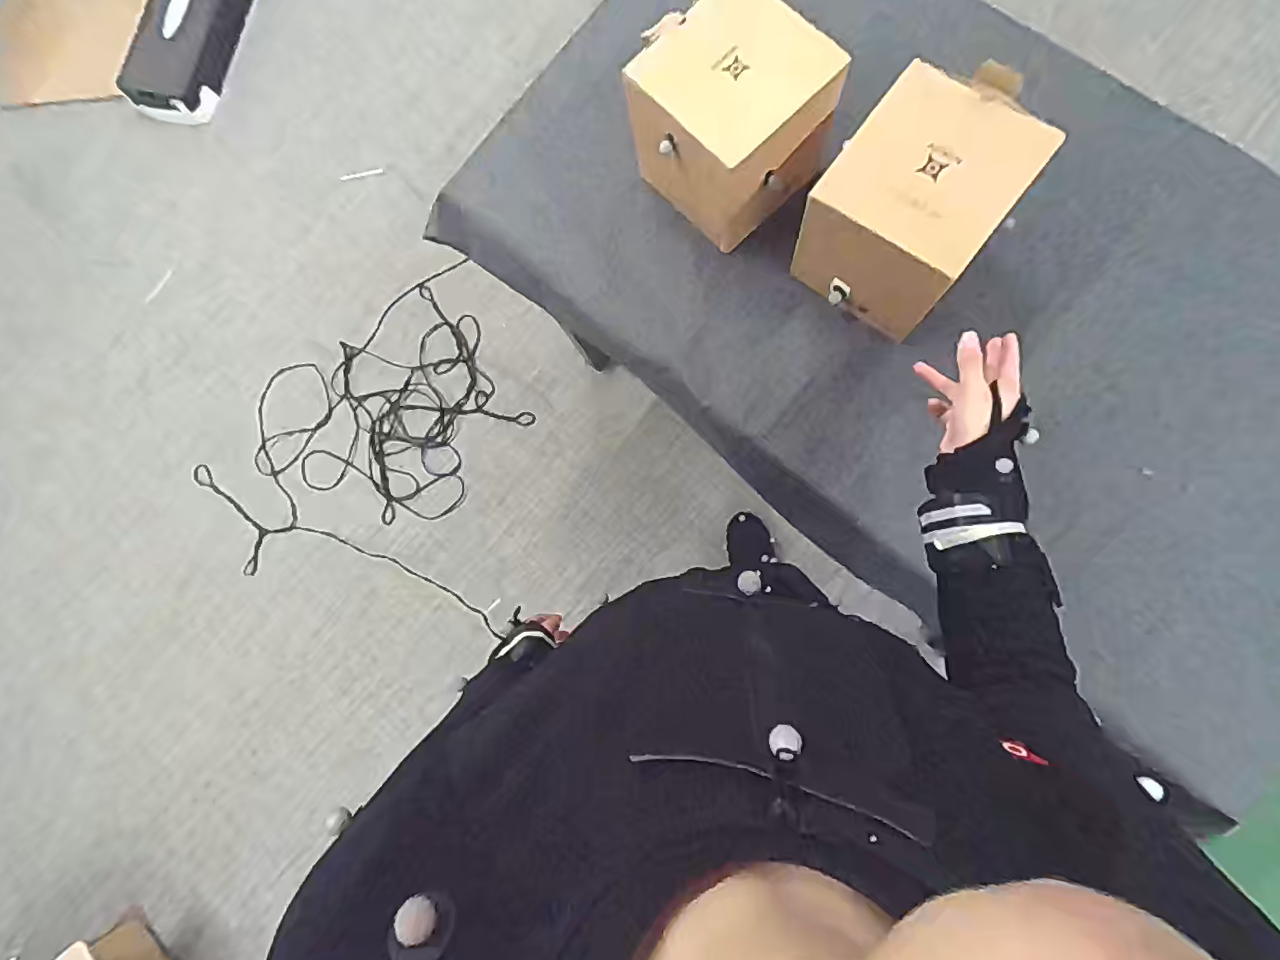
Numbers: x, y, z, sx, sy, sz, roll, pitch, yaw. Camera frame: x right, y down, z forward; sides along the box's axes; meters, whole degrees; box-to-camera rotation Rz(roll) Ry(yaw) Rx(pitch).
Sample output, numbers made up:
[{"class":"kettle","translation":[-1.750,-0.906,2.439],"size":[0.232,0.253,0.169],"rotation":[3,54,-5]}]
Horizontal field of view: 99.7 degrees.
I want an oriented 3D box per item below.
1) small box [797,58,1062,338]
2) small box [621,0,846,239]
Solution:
[{"class":"small box","translation":[0.293,-0.293,0.597],"size":[0.168,0.176,0.179],"rotation":[37,89,12]},{"class":"small box","translation":[0.105,-0.420,0.638],"size":[0.168,0.176,0.179],"rotation":[-42,79,1]}]
